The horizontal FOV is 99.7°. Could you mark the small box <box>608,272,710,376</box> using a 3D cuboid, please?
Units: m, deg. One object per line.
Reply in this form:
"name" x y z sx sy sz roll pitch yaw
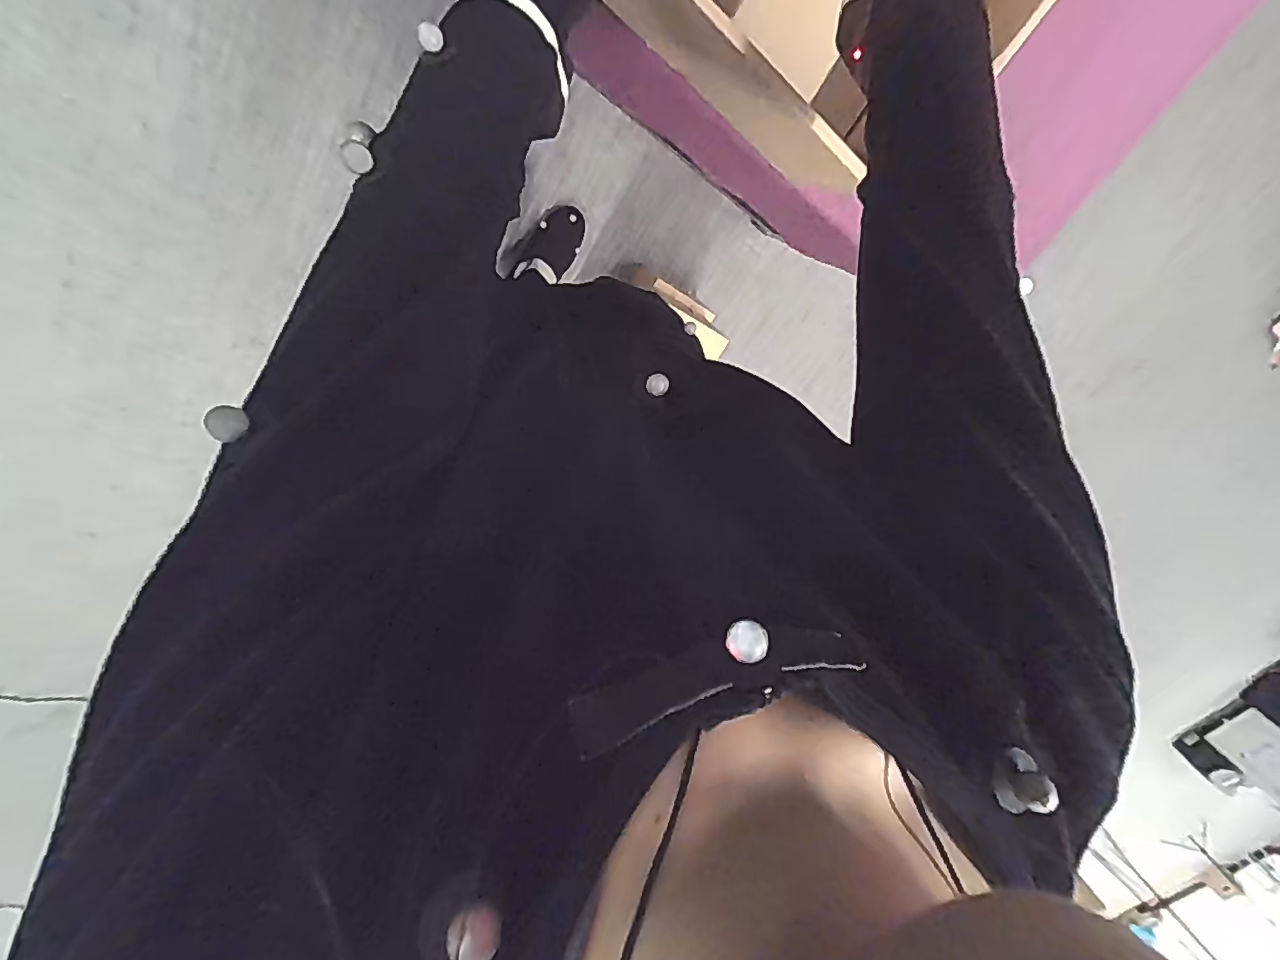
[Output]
"small box" 0.041 -0.396 1.355 0.179 0.176 0.168 24 114 -26
